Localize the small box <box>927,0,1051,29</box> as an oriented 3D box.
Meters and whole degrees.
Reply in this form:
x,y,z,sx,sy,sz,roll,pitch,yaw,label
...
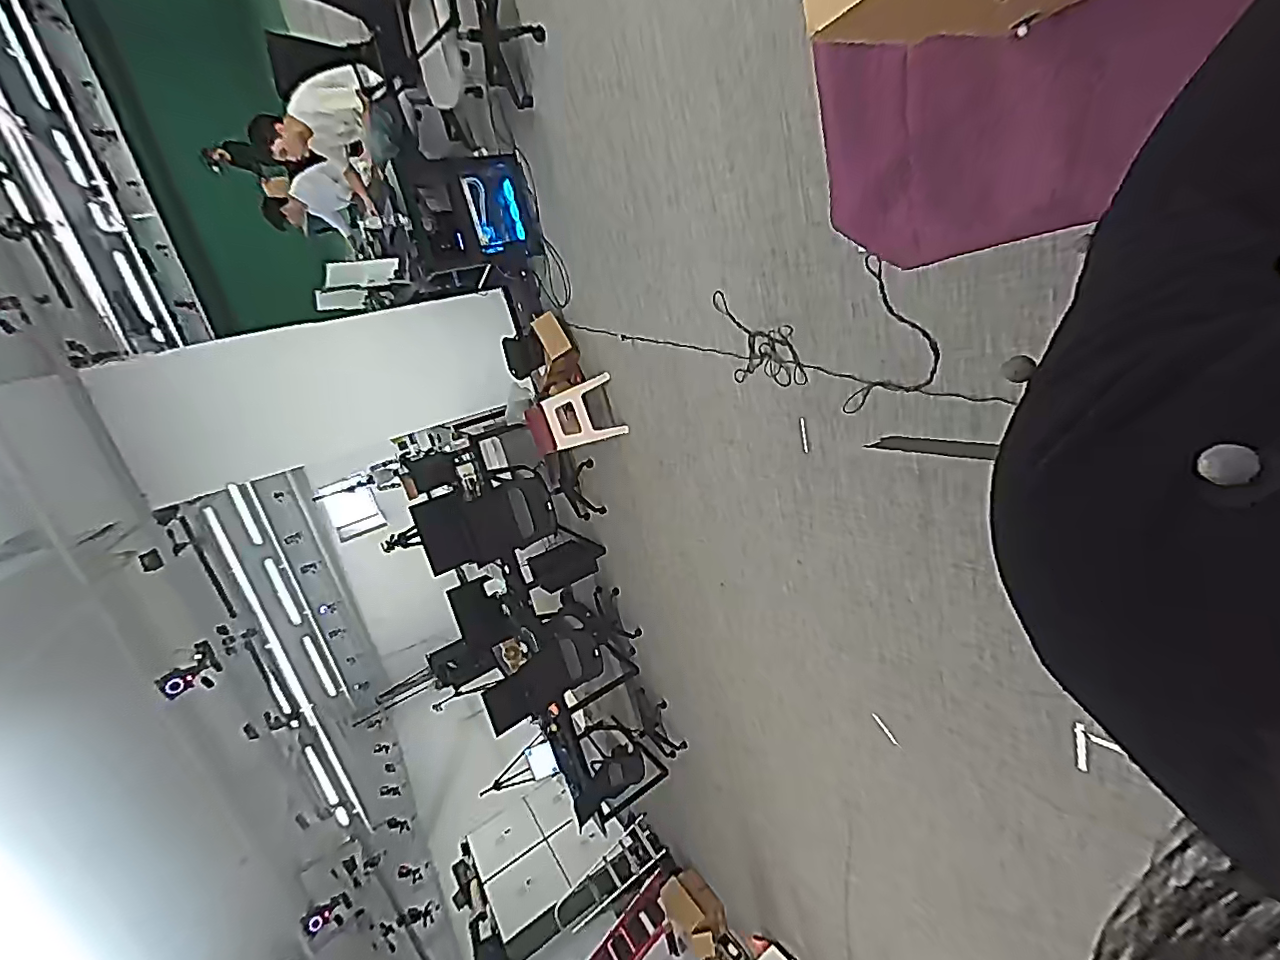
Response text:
x,y,z,sx,sy,sz,roll,pitch,yaw,label
0.369,-0.549,0.482,0.168,0.176,0.179,14,122,57,small box

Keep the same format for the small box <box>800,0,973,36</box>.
x,y,z,sx,sy,sz,roll,pitch,yaw,label
0.234,-0.482,0.413,0.179,0.176,0.168,13,122,58,small box
